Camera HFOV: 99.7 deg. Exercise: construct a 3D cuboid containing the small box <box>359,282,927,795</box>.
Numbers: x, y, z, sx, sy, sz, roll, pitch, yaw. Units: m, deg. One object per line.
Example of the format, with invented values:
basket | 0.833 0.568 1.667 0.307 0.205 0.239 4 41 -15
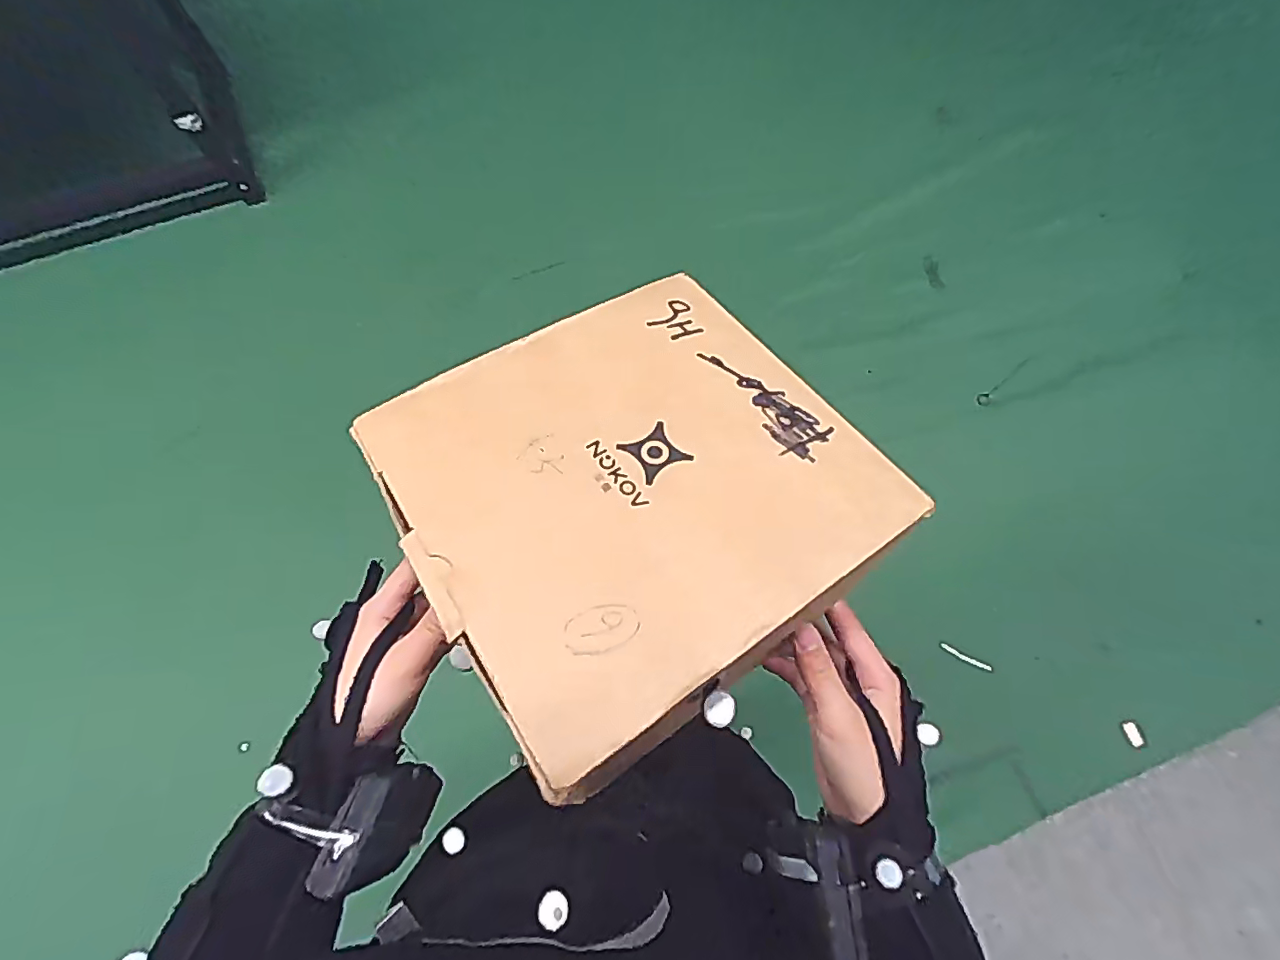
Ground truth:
small box | -0.003 0.038 0.285 0.179 0.176 0.168 -30 65 -18
